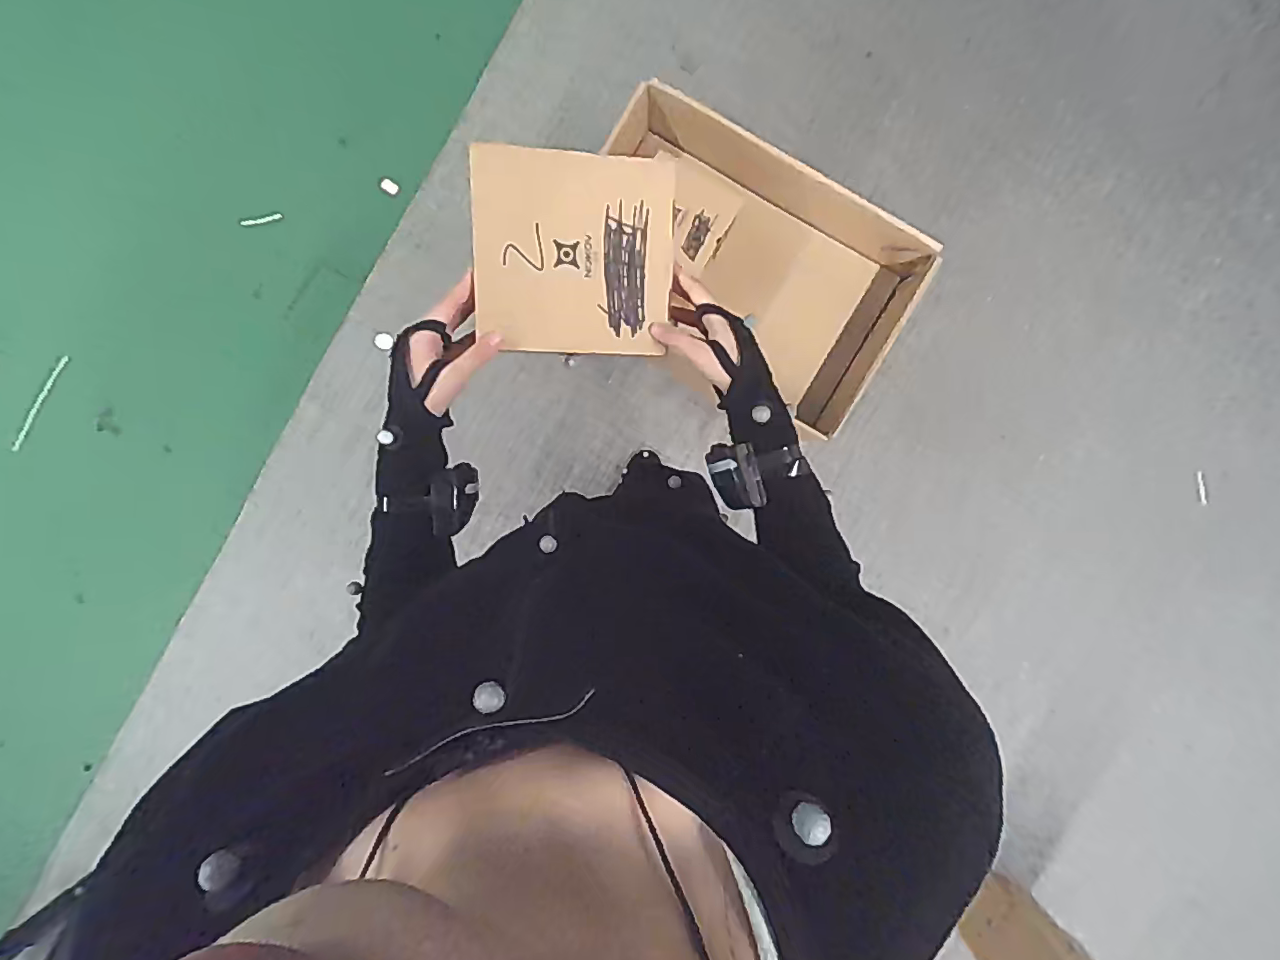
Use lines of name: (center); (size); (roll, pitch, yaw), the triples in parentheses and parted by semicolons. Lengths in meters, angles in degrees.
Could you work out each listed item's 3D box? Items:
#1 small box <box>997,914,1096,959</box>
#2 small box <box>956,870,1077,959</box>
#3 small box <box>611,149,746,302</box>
small box: (0.972, 1.169, 1.246); (0.168, 0.176, 0.179); (29, 91, 2)
small box: (0.971, 1.177, 1.410); (0.168, 0.176, 0.179); (28, 91, 1)
small box: (0.068, -0.451, 0.995); (0.179, 0.176, 0.168); (32, 92, 1)
